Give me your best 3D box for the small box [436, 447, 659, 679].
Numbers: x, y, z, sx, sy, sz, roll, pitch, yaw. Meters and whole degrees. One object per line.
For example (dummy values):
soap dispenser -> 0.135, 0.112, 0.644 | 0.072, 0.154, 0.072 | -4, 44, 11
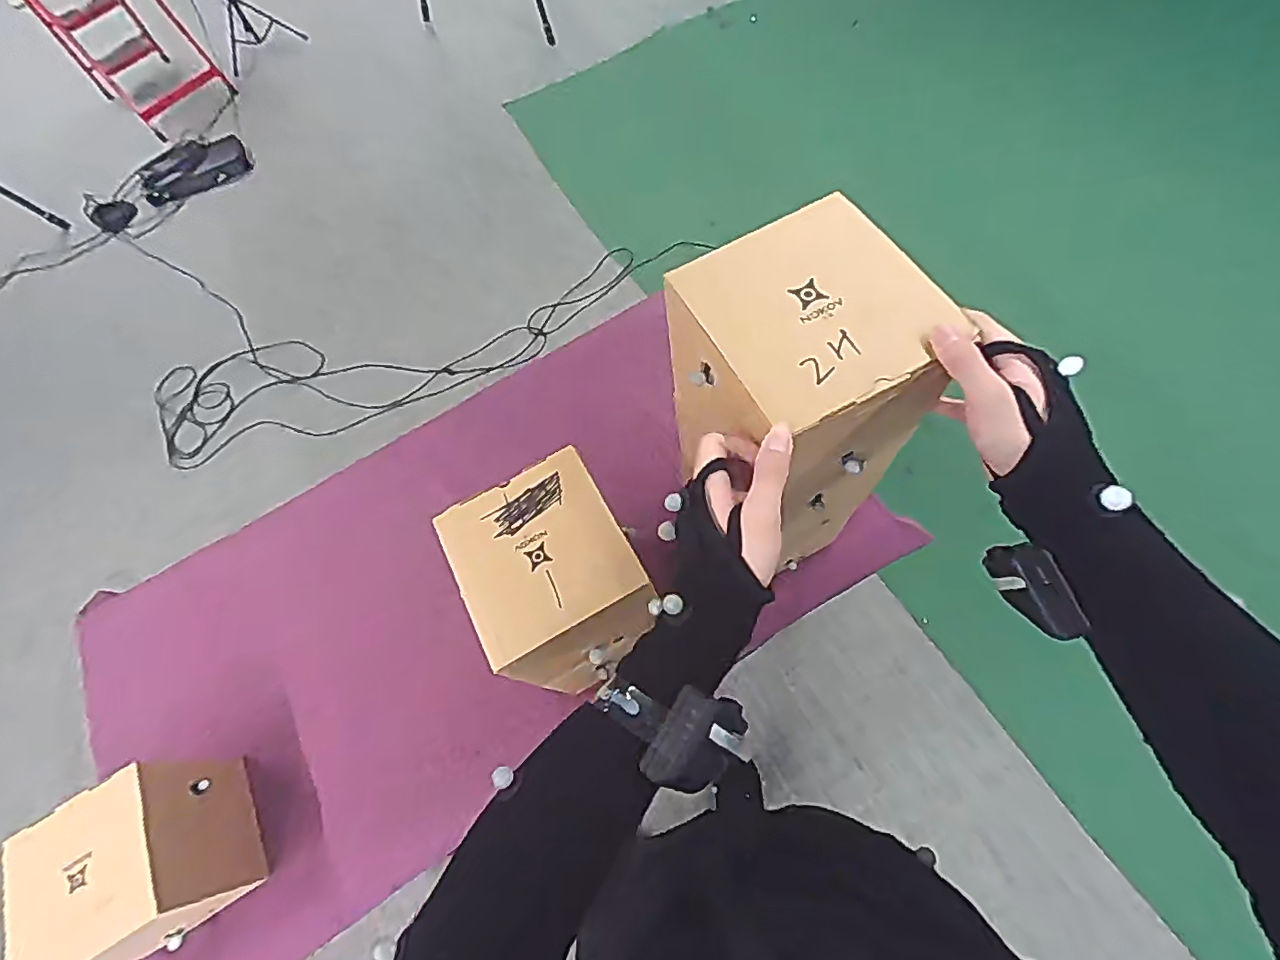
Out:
small box -> -0.092, 0.100, 0.602 | 0.168, 0.176, 0.179 | -29, 66, -6

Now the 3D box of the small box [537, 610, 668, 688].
small box -> -0.073, 0.170, 0.749 | 0.168, 0.176, 0.179 | -29, 64, -6

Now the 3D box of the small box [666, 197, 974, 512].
small box -> 0.136, -0.099, 0.479 | 0.168, 0.176, 0.179 | -27, 67, -4

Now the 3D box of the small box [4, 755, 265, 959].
small box -> -0.618, 0.471, 0.678 | 0.168, 0.176, 0.179 | -31, 66, -7
